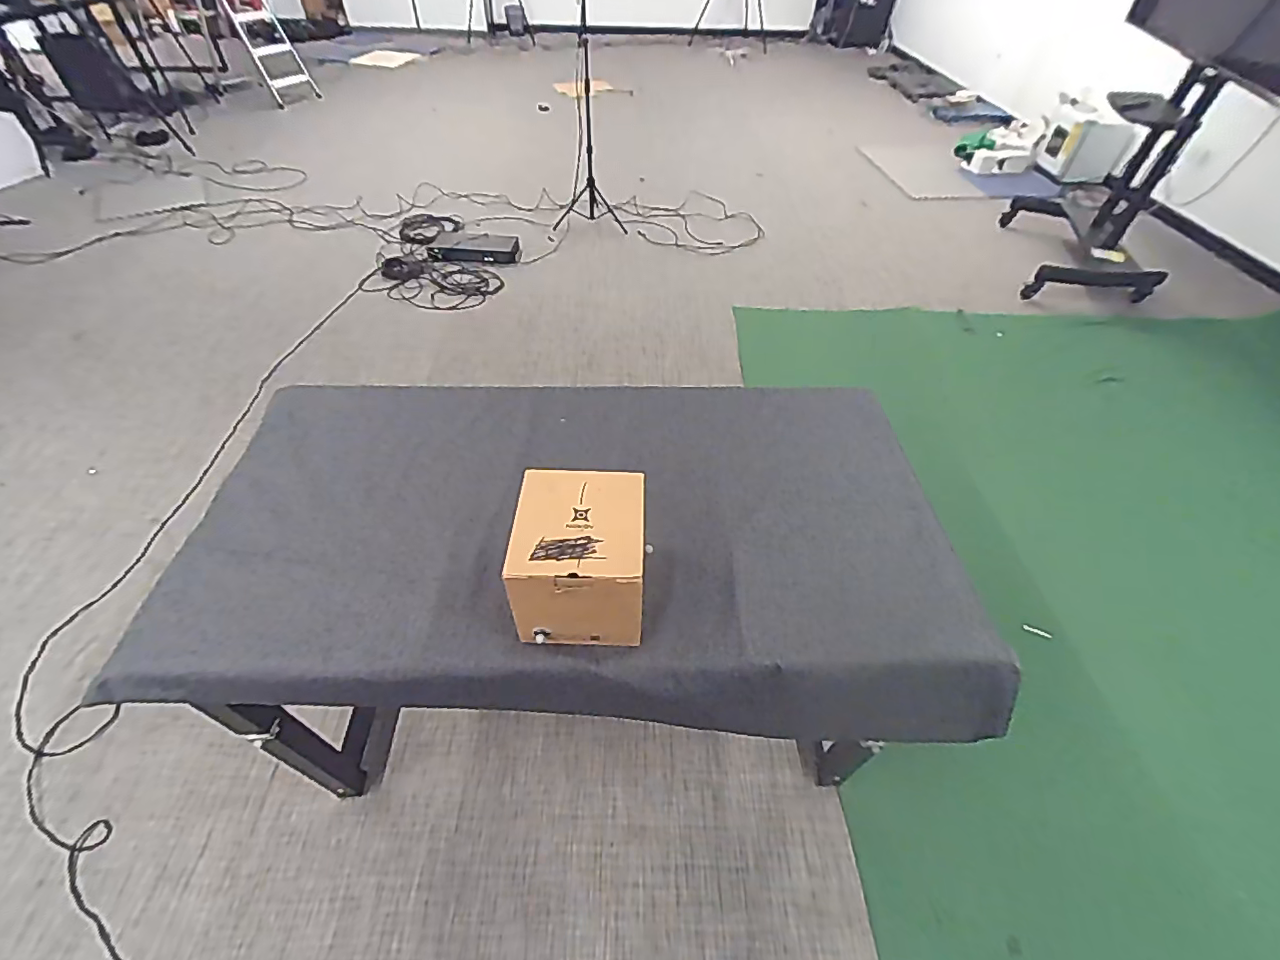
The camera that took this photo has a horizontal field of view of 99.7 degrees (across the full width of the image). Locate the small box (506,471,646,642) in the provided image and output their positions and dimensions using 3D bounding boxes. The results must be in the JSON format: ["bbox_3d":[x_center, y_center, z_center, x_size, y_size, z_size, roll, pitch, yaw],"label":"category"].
[{"bbox_3d":[-0.078,0.110,0.755,0.168,0.176,0.179,3,46,0],"label":"small box"}]
